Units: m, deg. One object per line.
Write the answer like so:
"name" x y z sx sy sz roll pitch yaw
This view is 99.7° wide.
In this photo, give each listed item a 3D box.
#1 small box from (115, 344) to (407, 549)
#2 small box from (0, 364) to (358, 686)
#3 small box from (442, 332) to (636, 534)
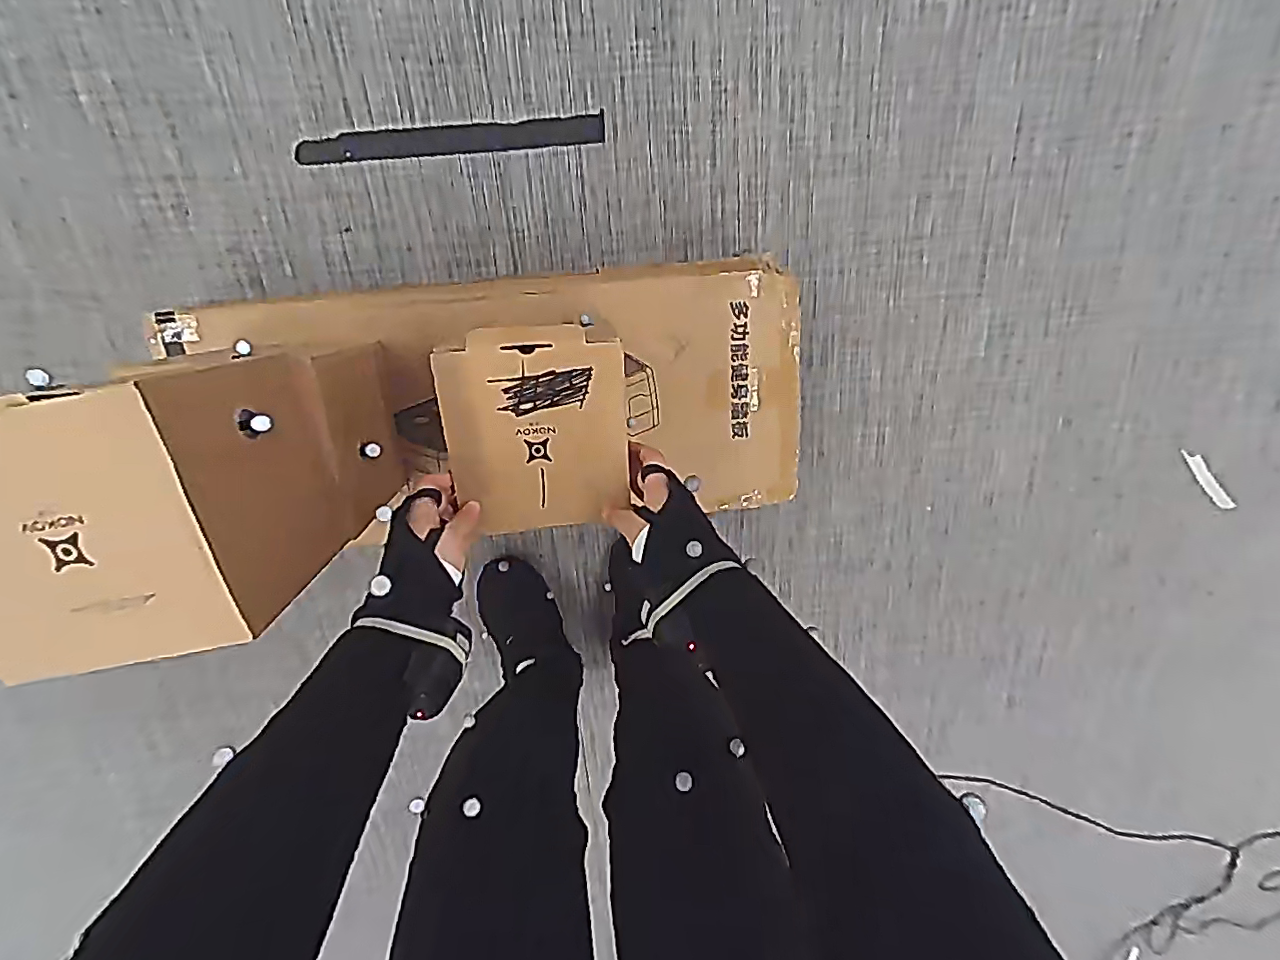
"small box" -0.358 -0.039 0.556 0.168 0.176 0.179 -4 110 -4
"small box" -0.346 0.015 0.403 0.168 0.176 0.179 -10 110 -2
"small box" -0.095 -0.061 0.572 0.168 0.176 0.179 -4 111 -4
